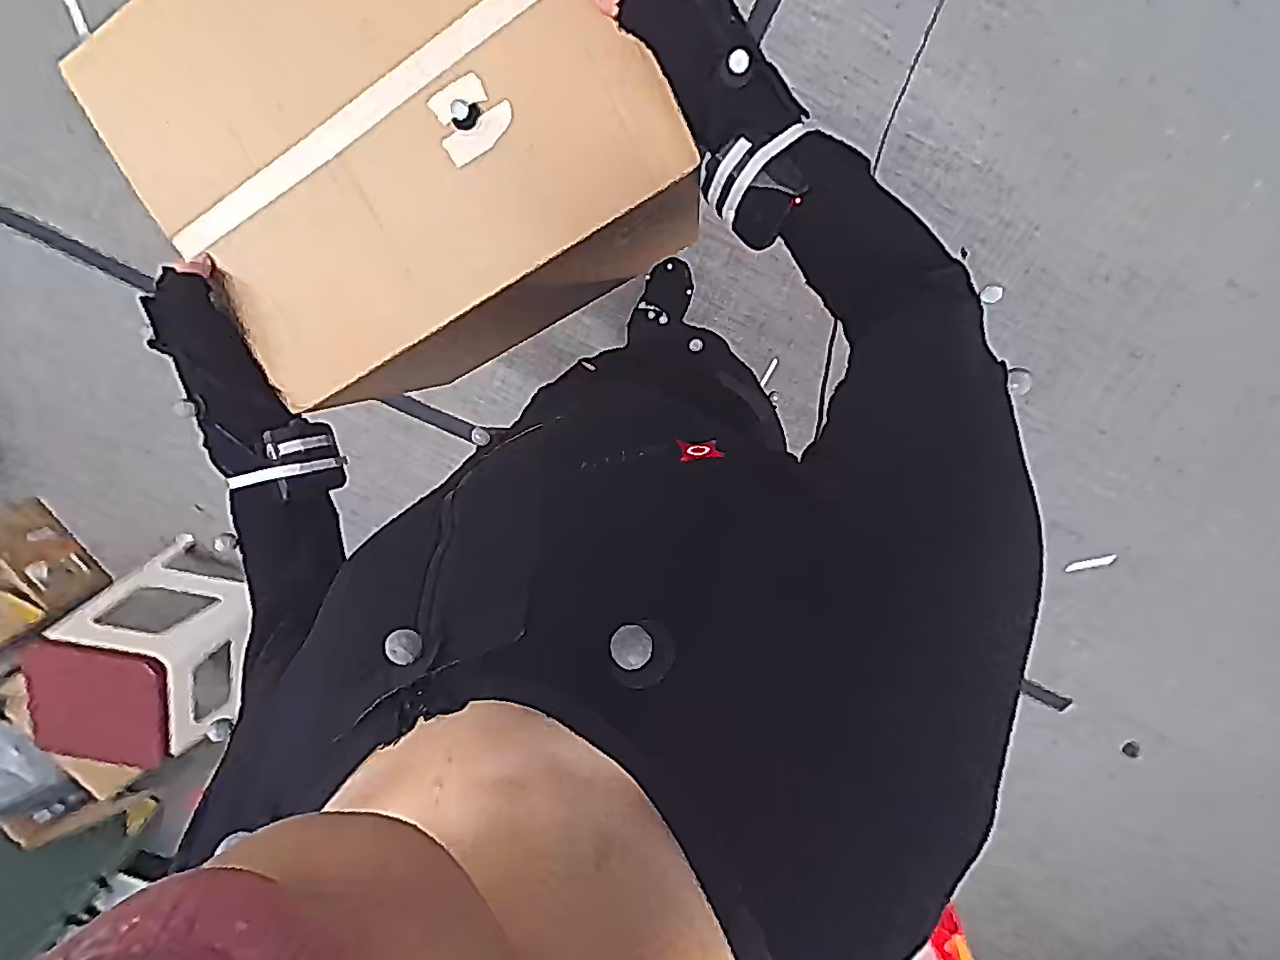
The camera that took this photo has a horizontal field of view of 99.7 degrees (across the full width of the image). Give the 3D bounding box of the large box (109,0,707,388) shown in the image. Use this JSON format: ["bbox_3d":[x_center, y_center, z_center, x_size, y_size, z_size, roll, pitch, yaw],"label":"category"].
[{"bbox_3d":[-0.176,-0.331,0.566,0.408,0.320,0.320,-26,101,11],"label":"large box"}]
